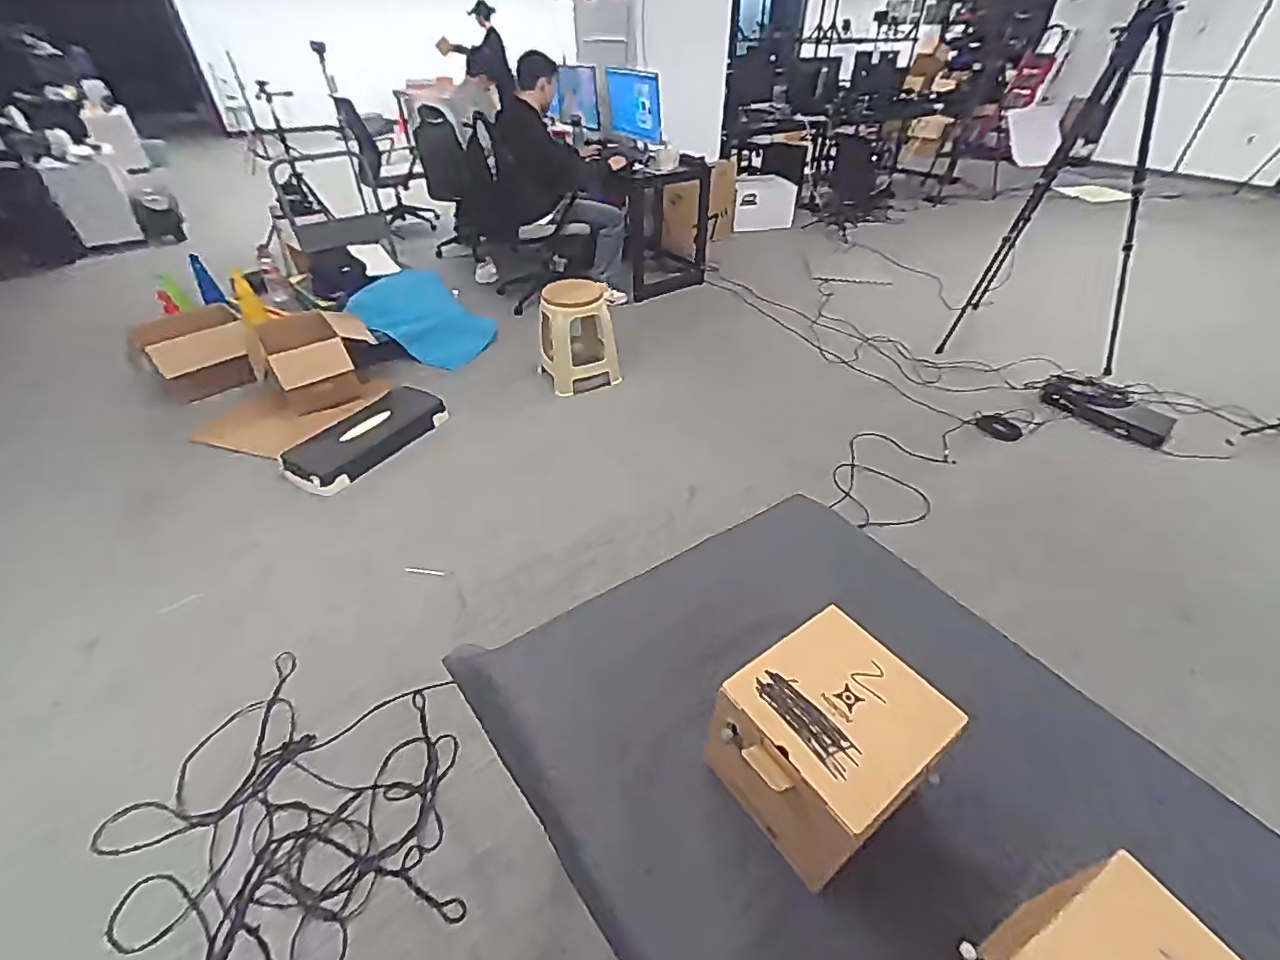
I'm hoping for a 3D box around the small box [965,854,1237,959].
[{"bbox_3d":[0.349,0.431,0.398,0.179,0.176,0.168,-19,45,-23],"label":"small box"}]
